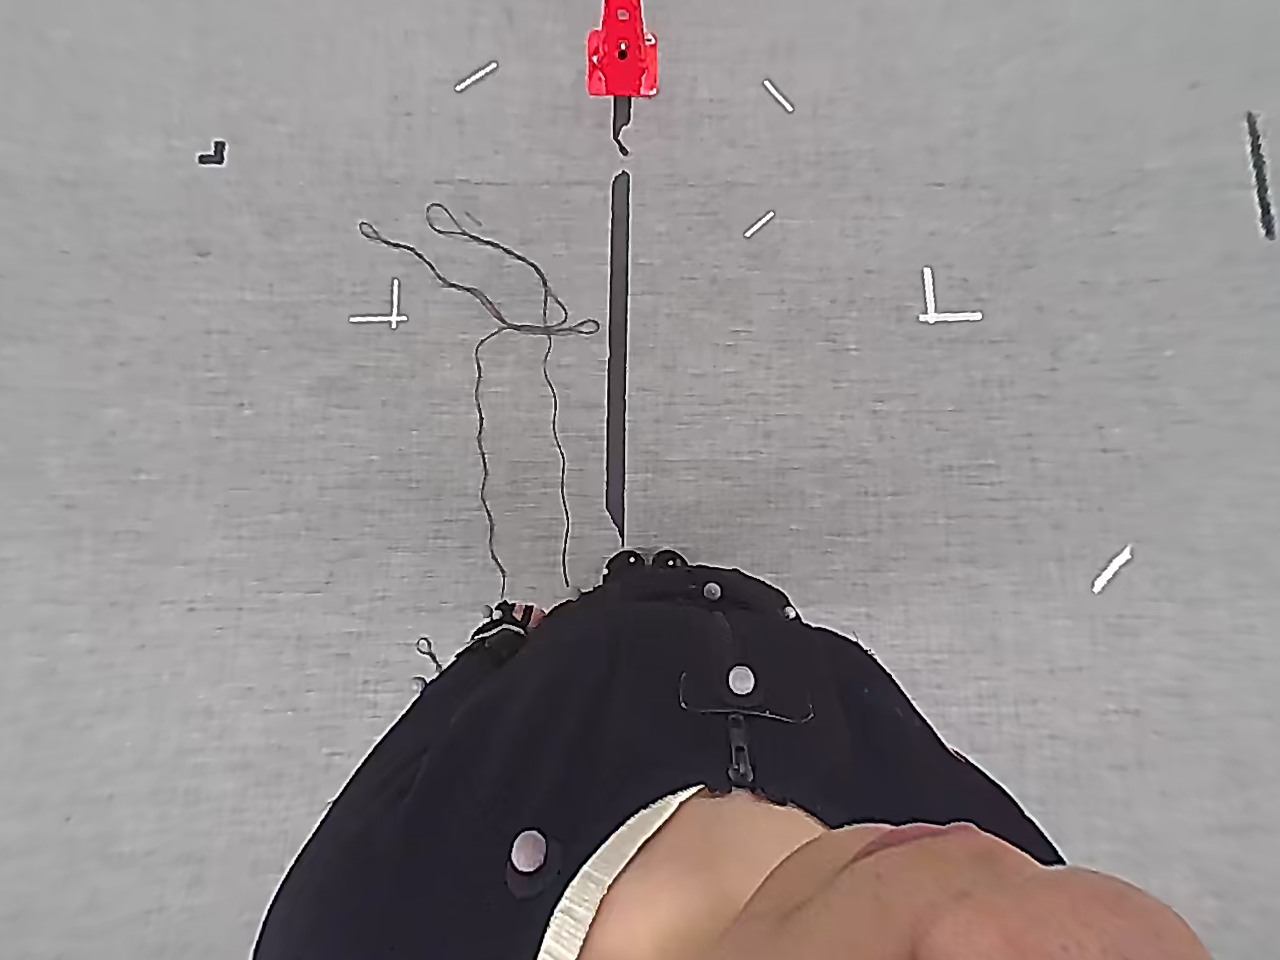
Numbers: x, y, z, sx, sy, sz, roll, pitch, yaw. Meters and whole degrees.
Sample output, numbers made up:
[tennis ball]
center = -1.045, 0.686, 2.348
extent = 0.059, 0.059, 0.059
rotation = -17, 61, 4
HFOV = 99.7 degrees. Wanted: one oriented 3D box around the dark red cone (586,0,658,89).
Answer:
[dark red cone]
center = -0.049, -1.203, 1.344
extent = 0.201, 0.394, 0.202
rotation = 0, 84, 0
